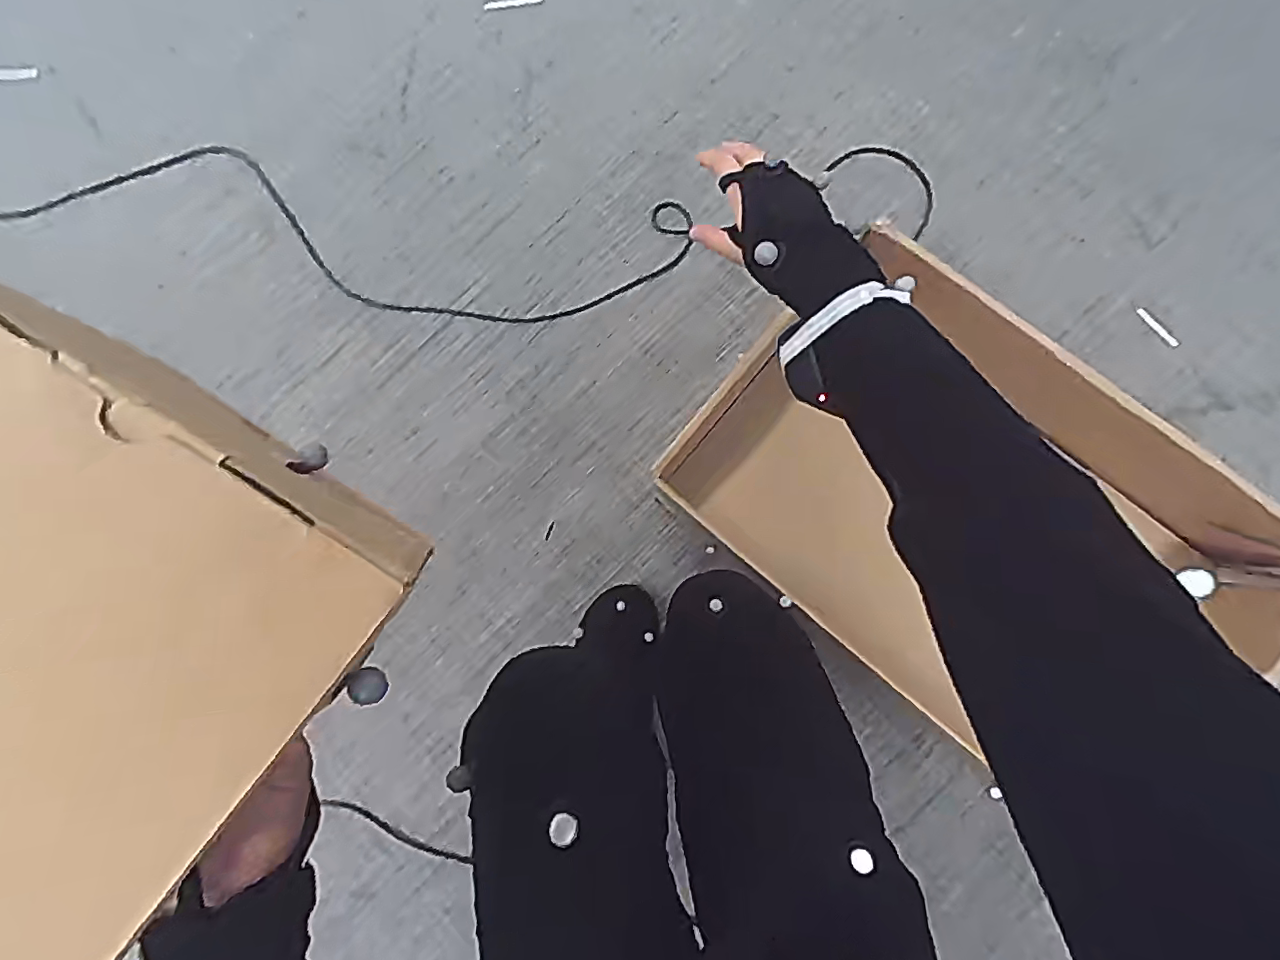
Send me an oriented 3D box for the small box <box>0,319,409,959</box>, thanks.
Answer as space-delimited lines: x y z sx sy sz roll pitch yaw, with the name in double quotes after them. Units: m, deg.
-0.209 0.064 0.202 0.168 0.176 0.179 38 75 -12 "small box"
